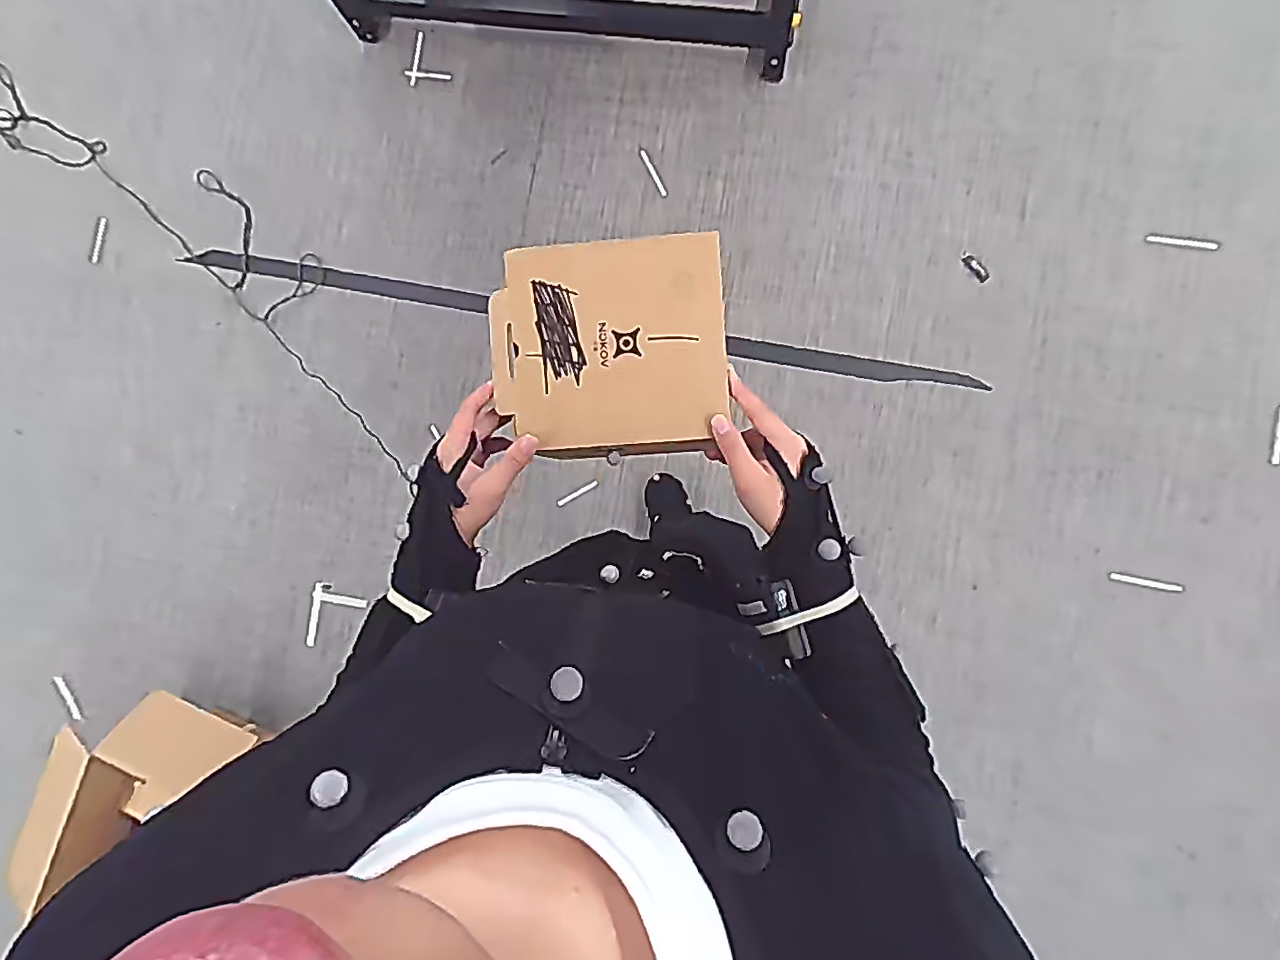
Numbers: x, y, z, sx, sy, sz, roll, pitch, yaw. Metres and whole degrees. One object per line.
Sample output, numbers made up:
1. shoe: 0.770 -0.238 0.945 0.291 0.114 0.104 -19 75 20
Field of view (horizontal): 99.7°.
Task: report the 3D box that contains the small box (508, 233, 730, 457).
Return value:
1. small box: -0.013 -0.111 0.515 0.179 0.176 0.168 -4 90 3
